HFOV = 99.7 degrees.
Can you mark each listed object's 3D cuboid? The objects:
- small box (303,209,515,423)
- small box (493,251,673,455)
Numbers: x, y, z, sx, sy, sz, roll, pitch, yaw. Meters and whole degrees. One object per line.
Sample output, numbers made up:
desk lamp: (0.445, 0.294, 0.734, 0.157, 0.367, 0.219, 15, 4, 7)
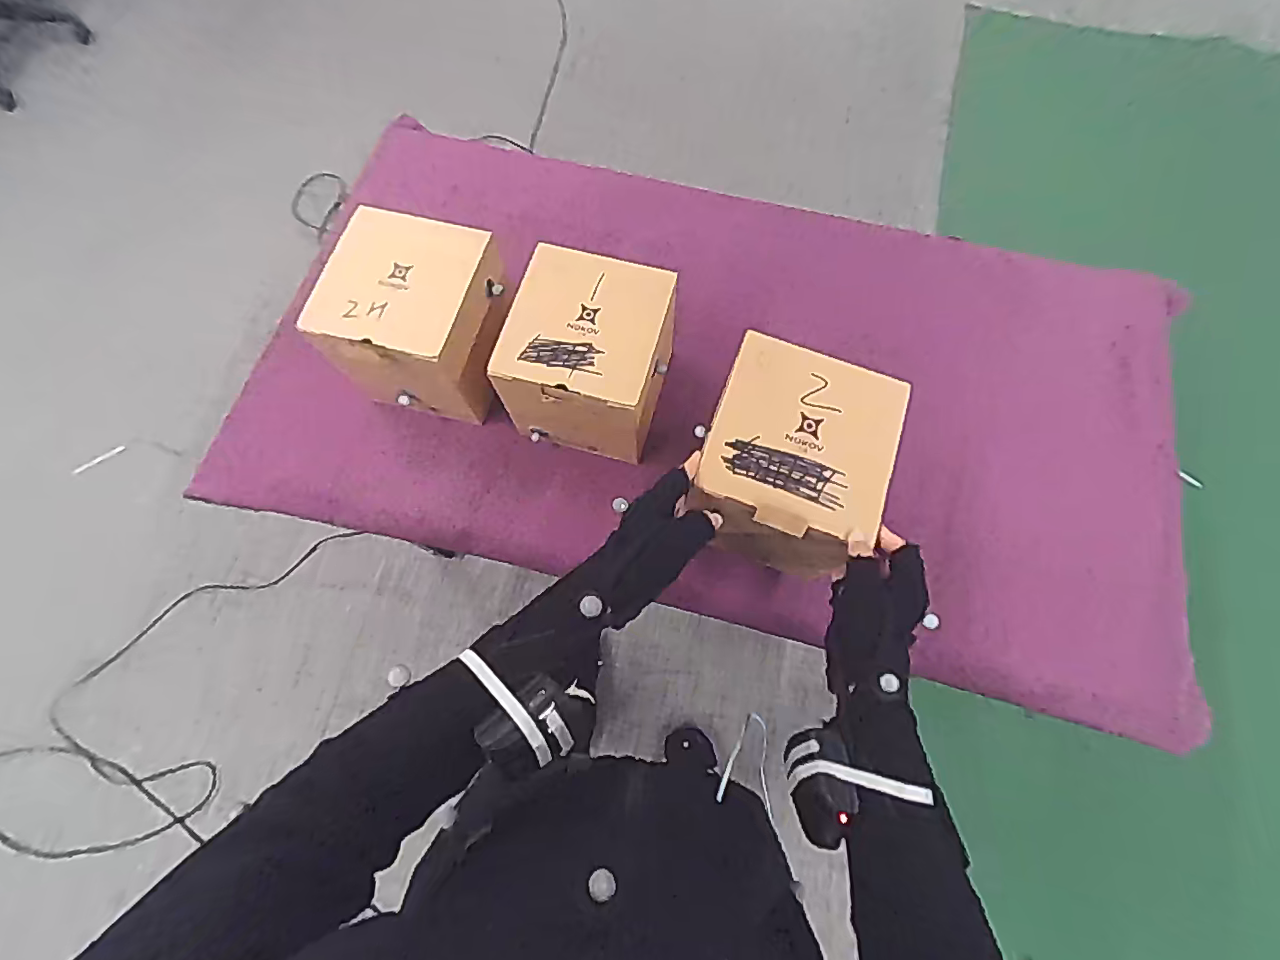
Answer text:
small box: (-0.267, -0.196, 0.680, 0.168, 0.176, 0.179, 13, 73, 5)
small box: (-0.054, -0.145, 0.665, 0.168, 0.176, 0.179, 11, 74, 8)
